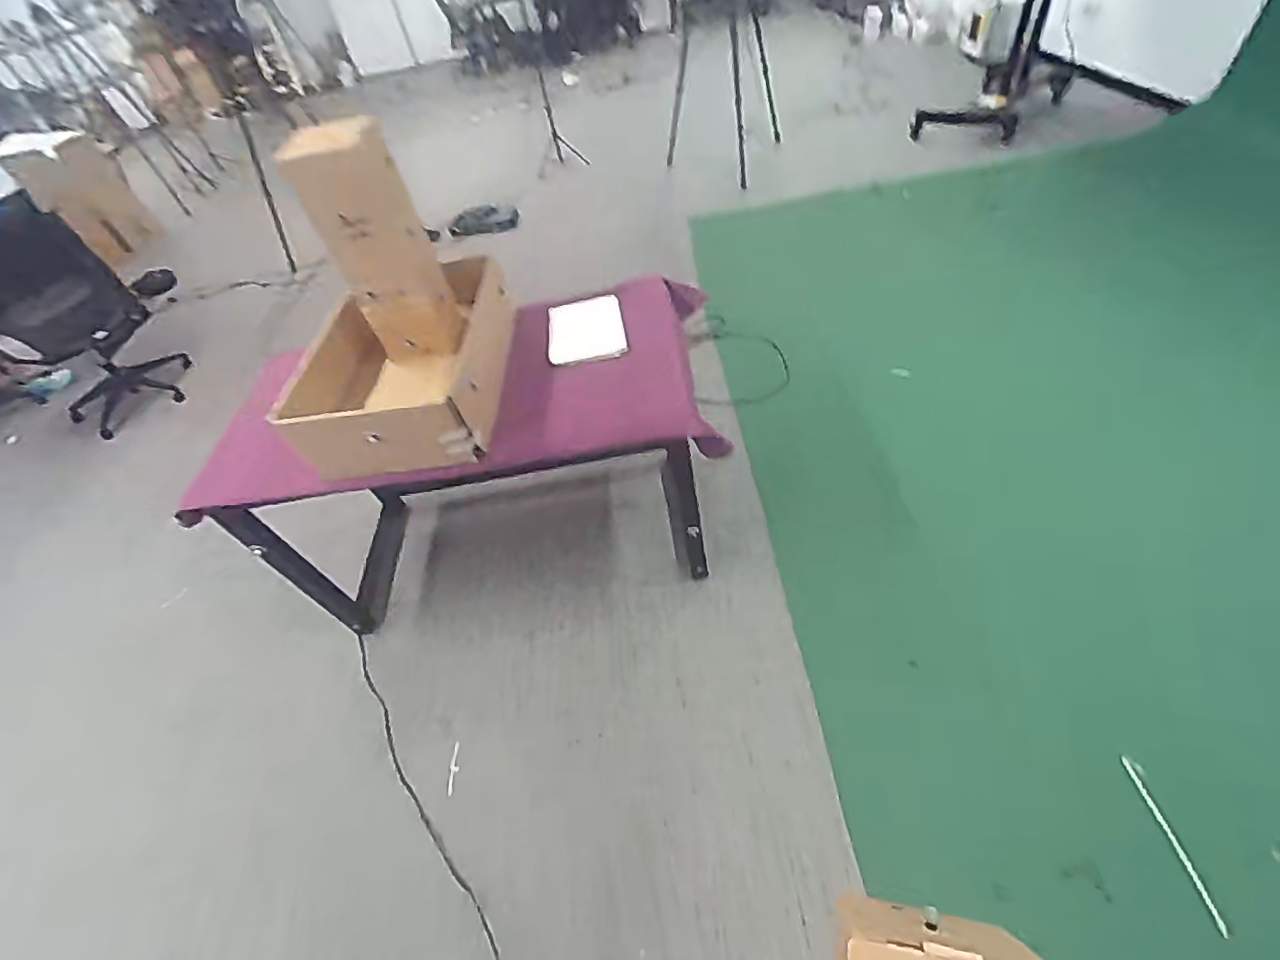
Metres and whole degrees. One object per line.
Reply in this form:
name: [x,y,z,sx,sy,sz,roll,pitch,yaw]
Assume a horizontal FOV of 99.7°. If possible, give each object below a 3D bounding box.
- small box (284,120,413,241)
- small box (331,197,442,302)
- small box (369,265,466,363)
small box: [-0.617,-0.646,1.172,0.168,0.176,0.179,-9,50,3]
small box: [-0.595,-0.543,1.295,0.168,0.176,0.179,-9,49,3]
small box: [-0.571,-0.432,1.415,0.168,0.176,0.179,-9,50,3]
